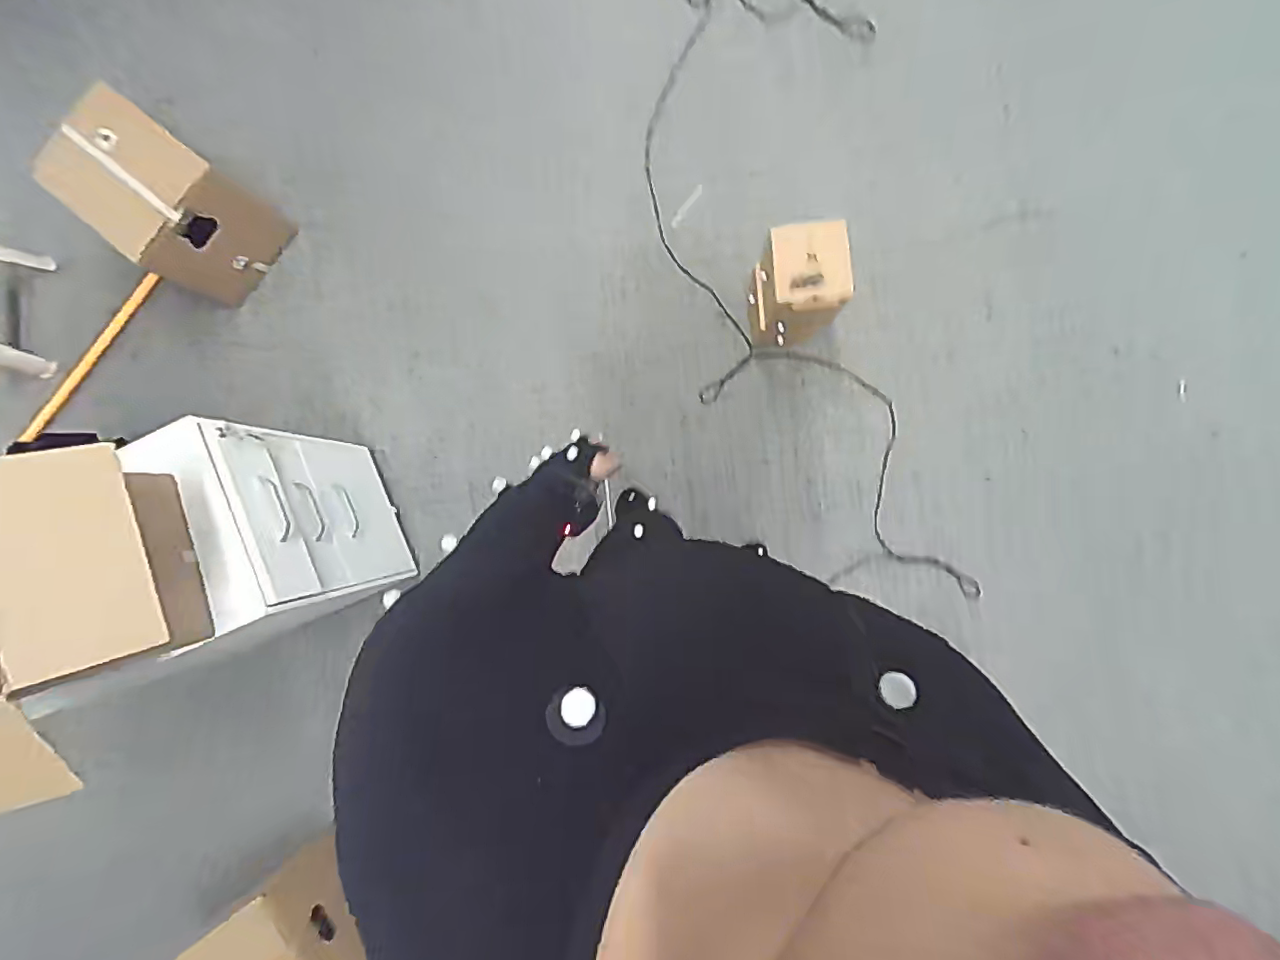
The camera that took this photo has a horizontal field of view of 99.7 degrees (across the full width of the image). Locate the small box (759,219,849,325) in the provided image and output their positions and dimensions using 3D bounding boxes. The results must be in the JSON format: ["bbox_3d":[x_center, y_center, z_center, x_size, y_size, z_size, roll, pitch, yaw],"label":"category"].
[{"bbox_3d":[0.370,-0.468,1.245,0.168,0.176,0.179,-4,86,4],"label":"small box"}]

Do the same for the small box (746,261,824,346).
[{"bbox_3d":[0.373,-0.458,1.409,0.168,0.176,0.179,-5,86,5],"label":"small box"}]
